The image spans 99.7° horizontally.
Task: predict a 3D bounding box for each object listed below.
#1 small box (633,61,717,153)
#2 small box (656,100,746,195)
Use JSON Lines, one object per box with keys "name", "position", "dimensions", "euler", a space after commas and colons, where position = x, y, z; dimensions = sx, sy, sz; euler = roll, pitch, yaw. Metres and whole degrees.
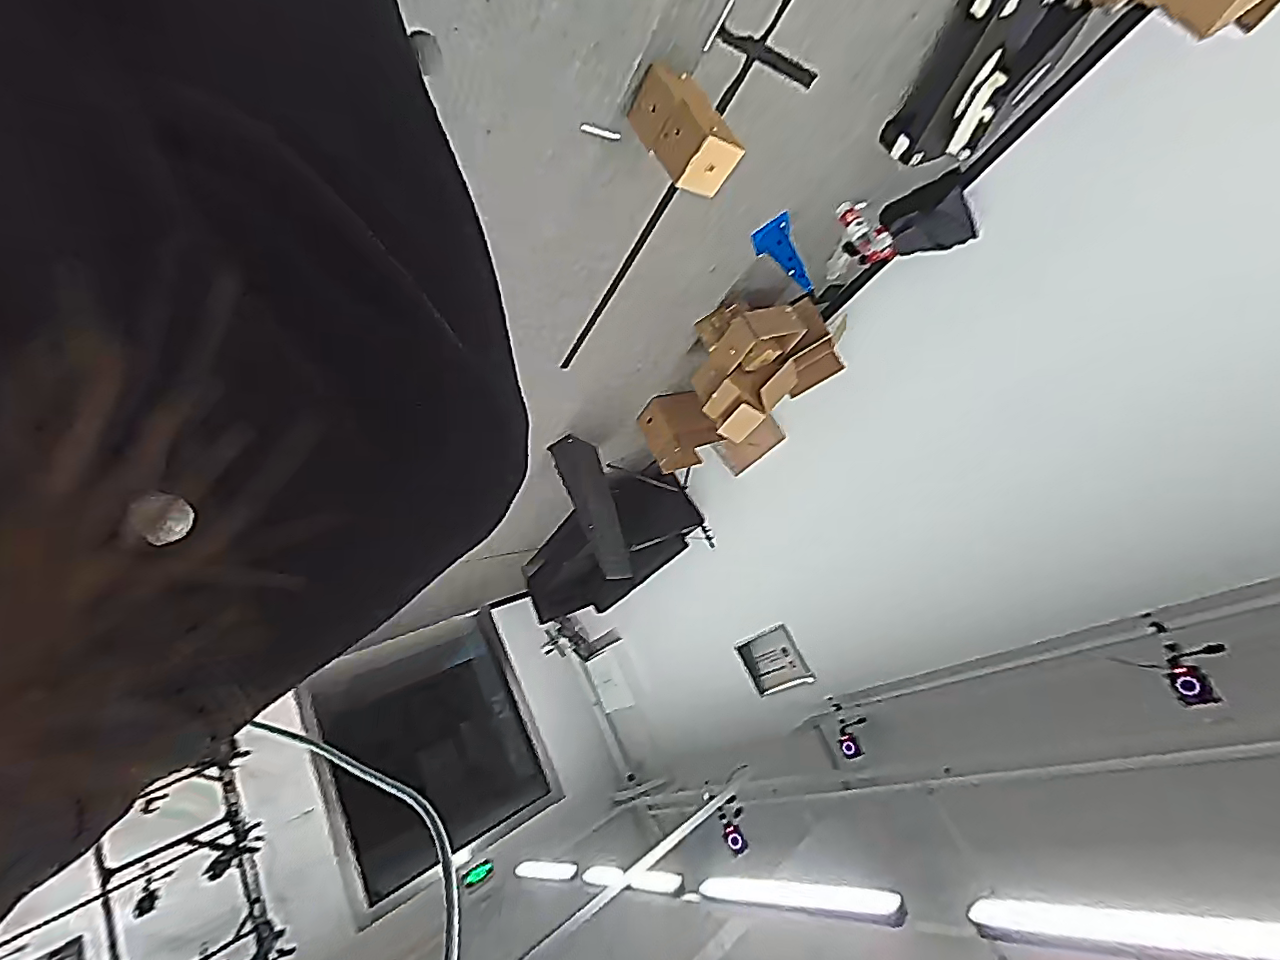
{"name": "small box", "position": [0.100, -1.145, 1.684], "dimensions": [0.168, 0.176, 0.179], "euler": [-15, 159, -37]}
{"name": "small box", "position": [0.182, -1.009, 1.643], "dimensions": [0.179, 0.176, 0.168], "euler": [-12, 158, -41]}
